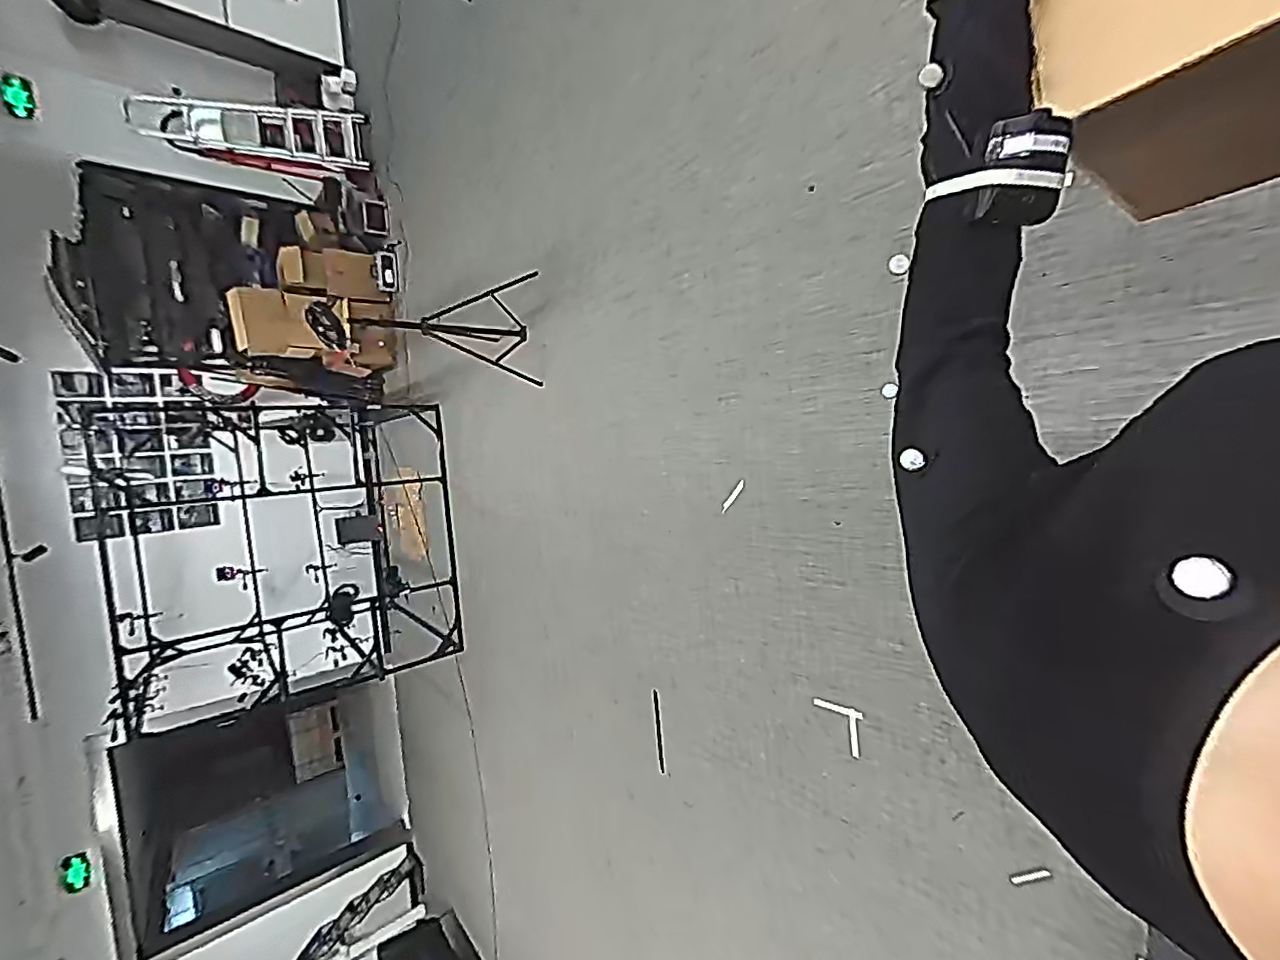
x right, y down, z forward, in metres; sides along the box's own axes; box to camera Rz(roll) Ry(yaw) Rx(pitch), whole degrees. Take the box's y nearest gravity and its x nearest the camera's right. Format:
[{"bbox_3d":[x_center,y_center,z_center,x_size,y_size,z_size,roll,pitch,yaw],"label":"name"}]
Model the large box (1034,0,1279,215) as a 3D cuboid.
[{"bbox_3d":[0.515,-0.431,0.327,0.408,0.320,0.320,-6,89,52],"label":"large box"}]
